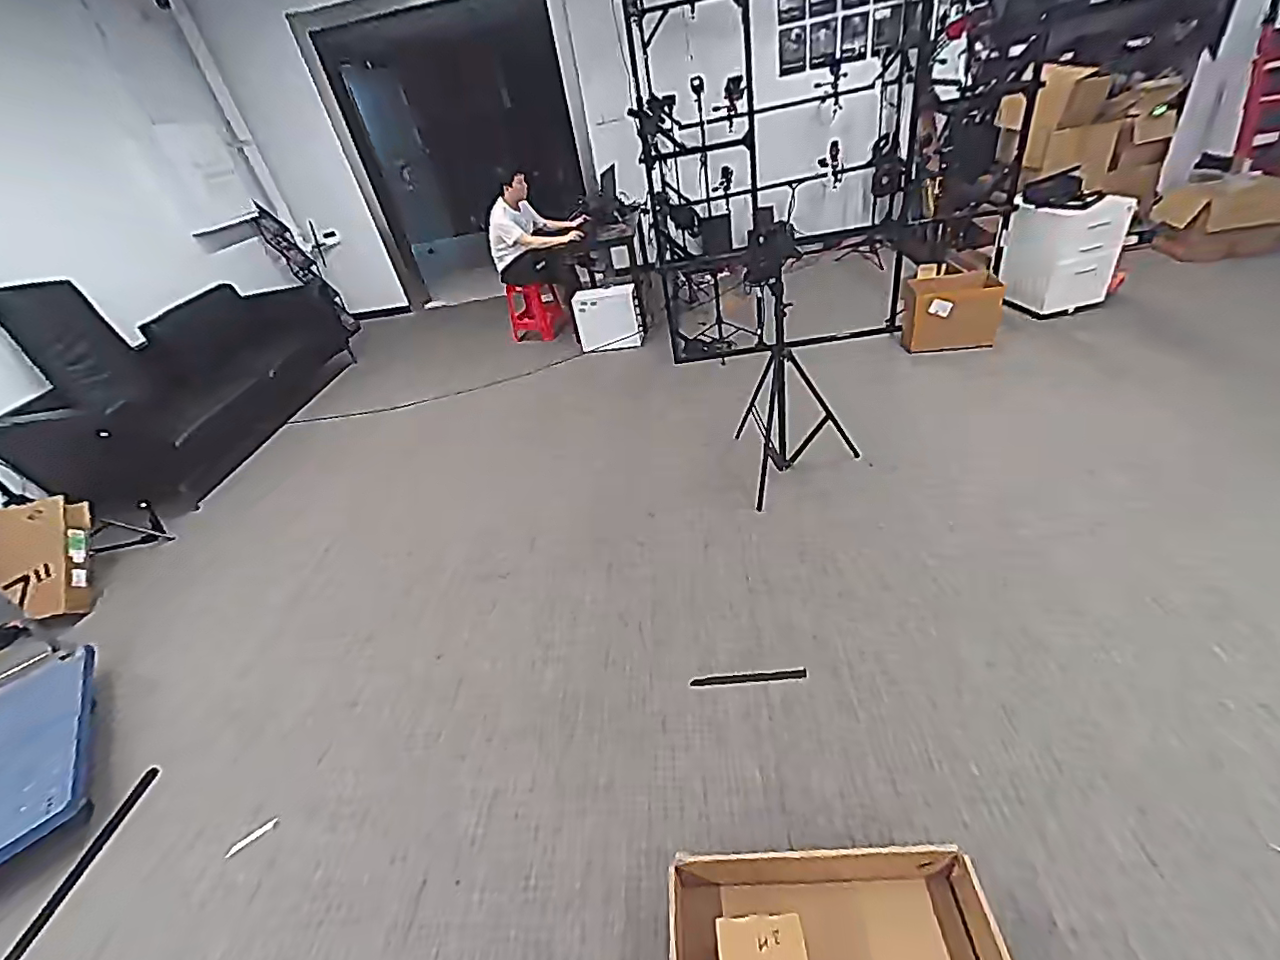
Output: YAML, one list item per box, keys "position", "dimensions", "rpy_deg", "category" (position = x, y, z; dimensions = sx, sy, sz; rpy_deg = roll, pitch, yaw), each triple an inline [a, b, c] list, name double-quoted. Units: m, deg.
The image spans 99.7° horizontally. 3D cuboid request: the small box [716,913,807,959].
- position: [0.242, 0.967, 1.036]
  dimensions: [0.168, 0.176, 0.179]
  rpy_deg: [-7, 36, 5]
  category: "small box"
